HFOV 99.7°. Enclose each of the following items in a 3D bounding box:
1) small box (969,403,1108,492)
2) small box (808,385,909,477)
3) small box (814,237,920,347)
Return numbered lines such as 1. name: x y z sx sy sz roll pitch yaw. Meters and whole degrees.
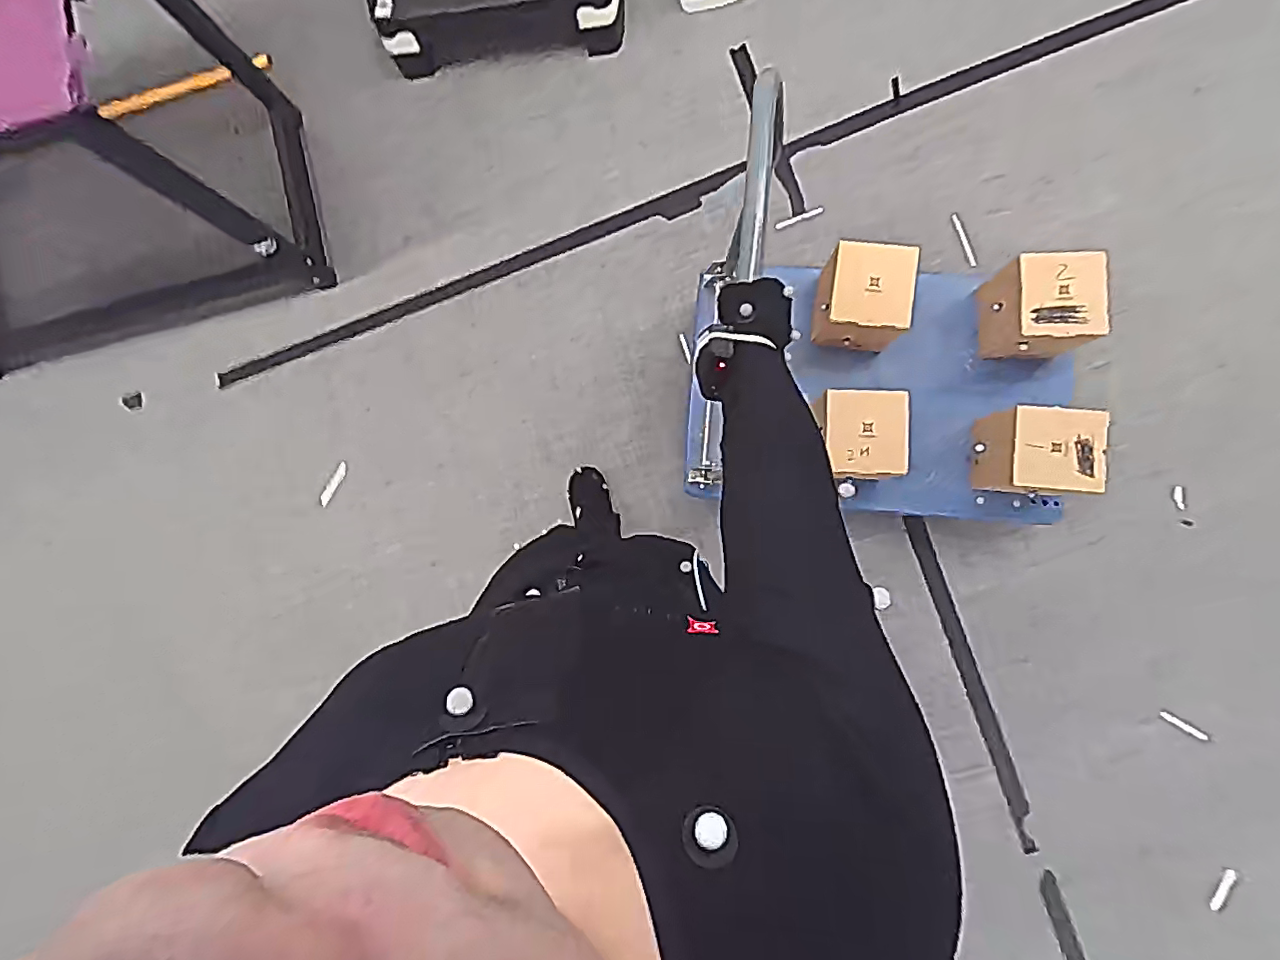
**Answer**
1. small box: 0.847 -0.064 1.163 0.179 0.176 0.168 6 87 6
2. small box: 0.474 -0.103 1.194 0.168 0.176 0.179 2 87 5
3. small box: 0.497 -0.412 1.208 0.168 0.176 0.179 7 89 4
